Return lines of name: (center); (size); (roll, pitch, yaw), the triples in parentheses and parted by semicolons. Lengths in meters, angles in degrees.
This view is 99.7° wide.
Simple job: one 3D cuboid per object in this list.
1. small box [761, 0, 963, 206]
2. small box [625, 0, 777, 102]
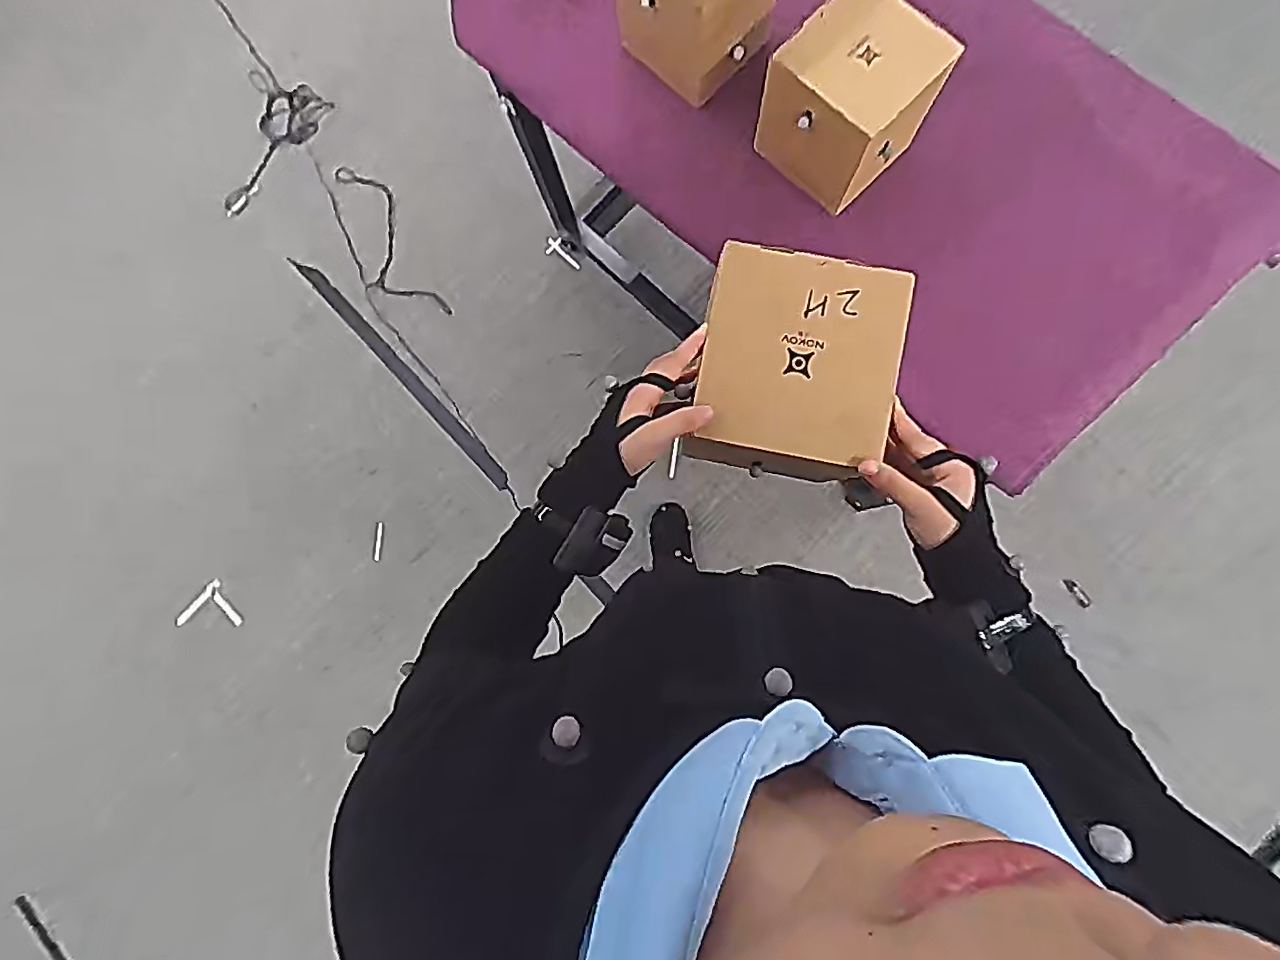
small box: (0.293, -0.524, 0.759); (0.168, 0.176, 0.179); (-44, 81, -1)
small box: (0.086, -0.717, 0.797); (0.168, 0.176, 0.179); (-45, 82, -1)
